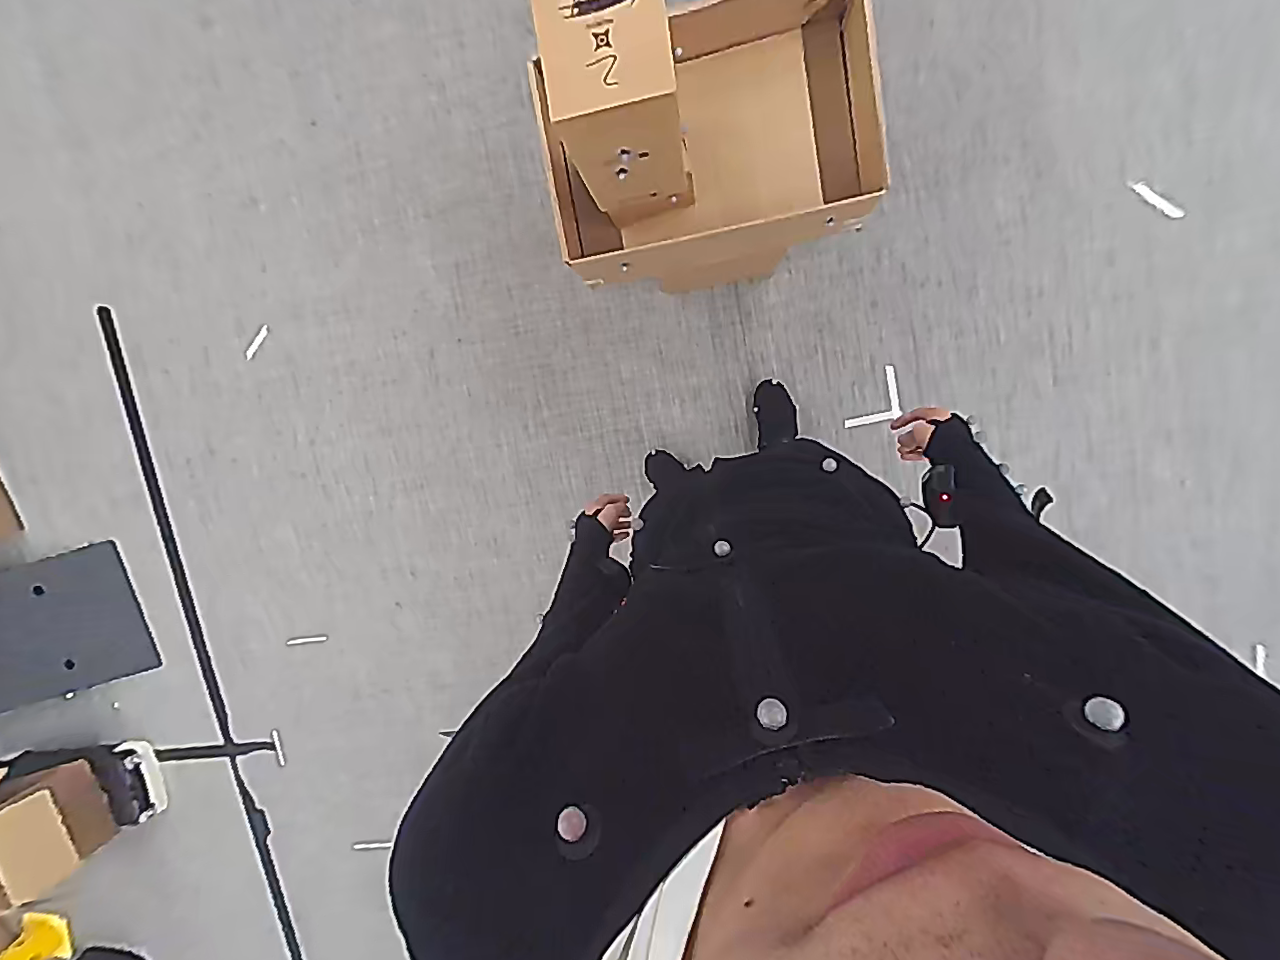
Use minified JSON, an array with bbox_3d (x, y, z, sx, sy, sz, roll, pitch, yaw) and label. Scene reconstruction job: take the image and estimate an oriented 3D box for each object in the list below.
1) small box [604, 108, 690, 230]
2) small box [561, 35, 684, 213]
[{"bbox_3d":[-0.002,-0.623,1.066,0.179,0.176,0.168,-14,95,10],"label":"small box"},{"bbox_3d":[-0.021,-0.582,0.909,0.168,0.176,0.179,-9,95,9],"label":"small box"}]
